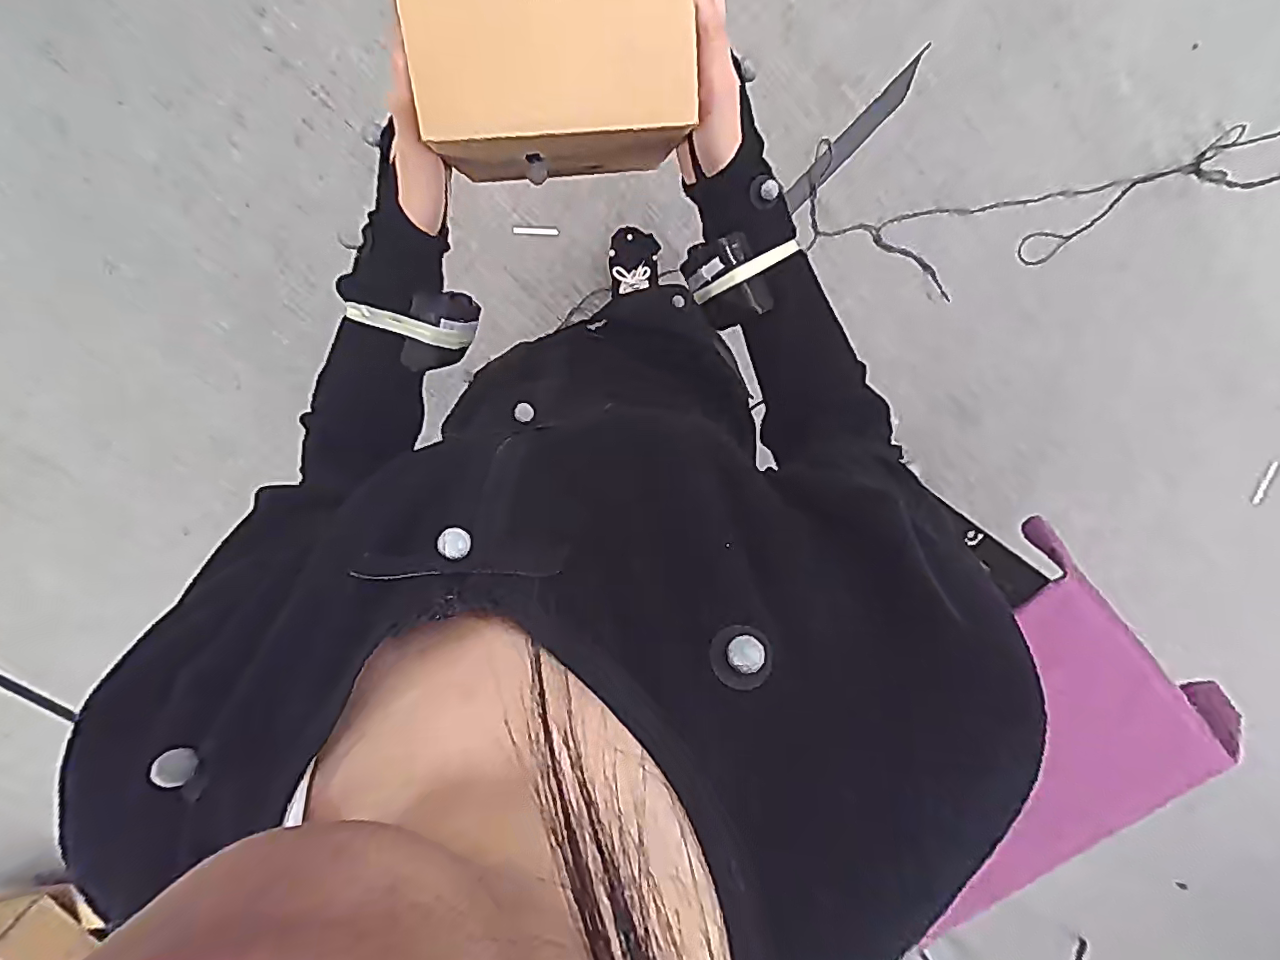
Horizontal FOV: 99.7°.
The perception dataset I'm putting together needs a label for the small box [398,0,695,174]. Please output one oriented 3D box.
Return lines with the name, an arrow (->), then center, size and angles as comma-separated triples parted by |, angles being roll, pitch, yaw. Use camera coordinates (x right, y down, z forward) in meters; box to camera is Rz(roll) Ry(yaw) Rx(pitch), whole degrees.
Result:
small box -> -0.059, -0.317, 0.364 | 0.168, 0.176, 0.179 | -7, 111, -4
